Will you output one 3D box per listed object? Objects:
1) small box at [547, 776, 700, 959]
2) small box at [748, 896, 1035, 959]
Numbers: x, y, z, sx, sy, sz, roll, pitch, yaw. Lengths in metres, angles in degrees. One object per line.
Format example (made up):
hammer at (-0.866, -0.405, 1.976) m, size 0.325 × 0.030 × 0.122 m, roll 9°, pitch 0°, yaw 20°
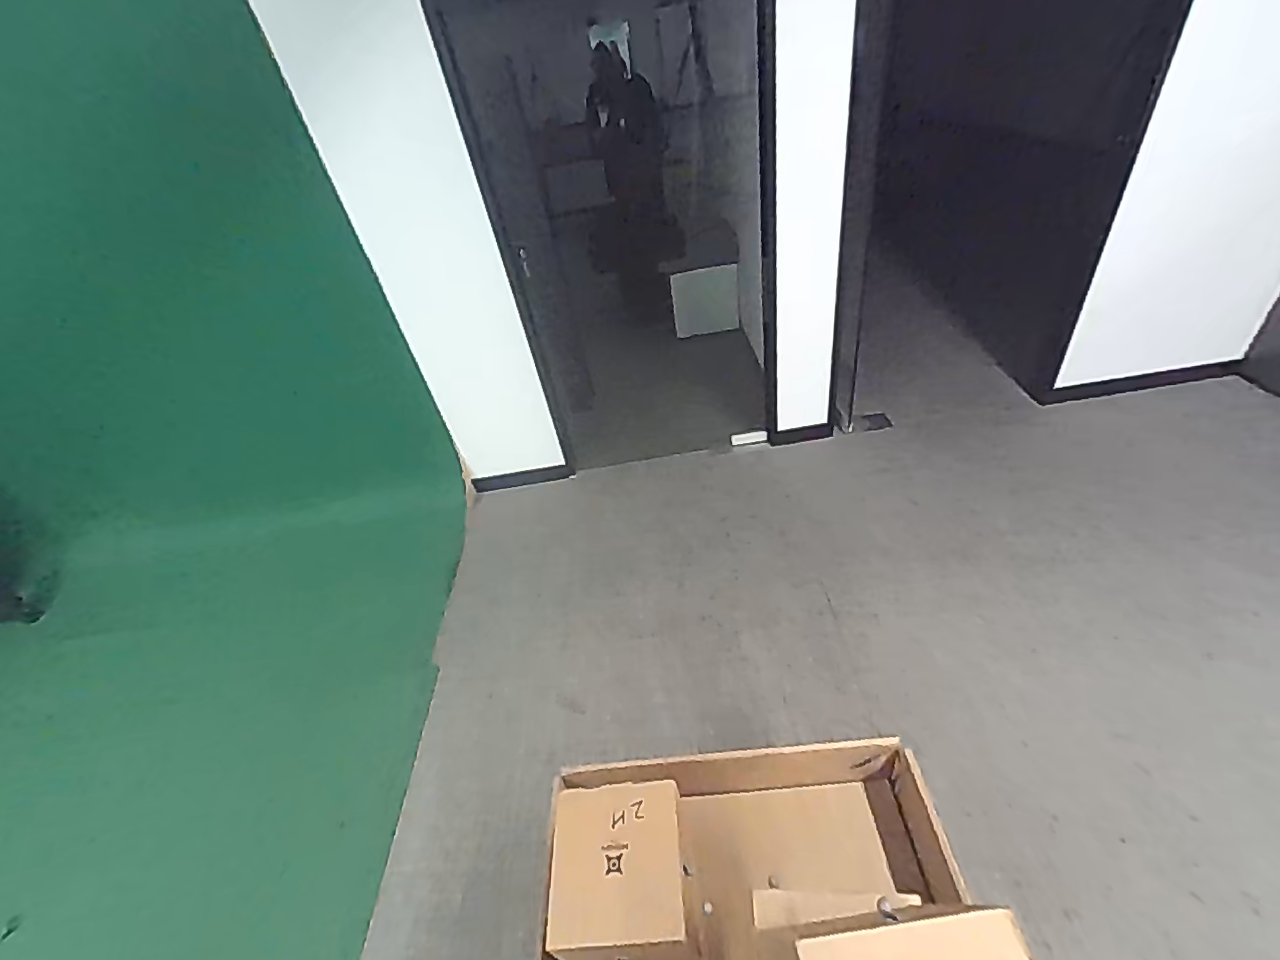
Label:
small box at (-0.014, 0.530, 0.729) m, size 0.168 × 0.176 × 0.179 m, roll -8°, pitch 39°, yaw 6°
small box at (0.198, 0.431, 0.415) m, size 0.179 × 0.176 × 0.168 m, roll -3°, pitch 51°, yaw -6°
